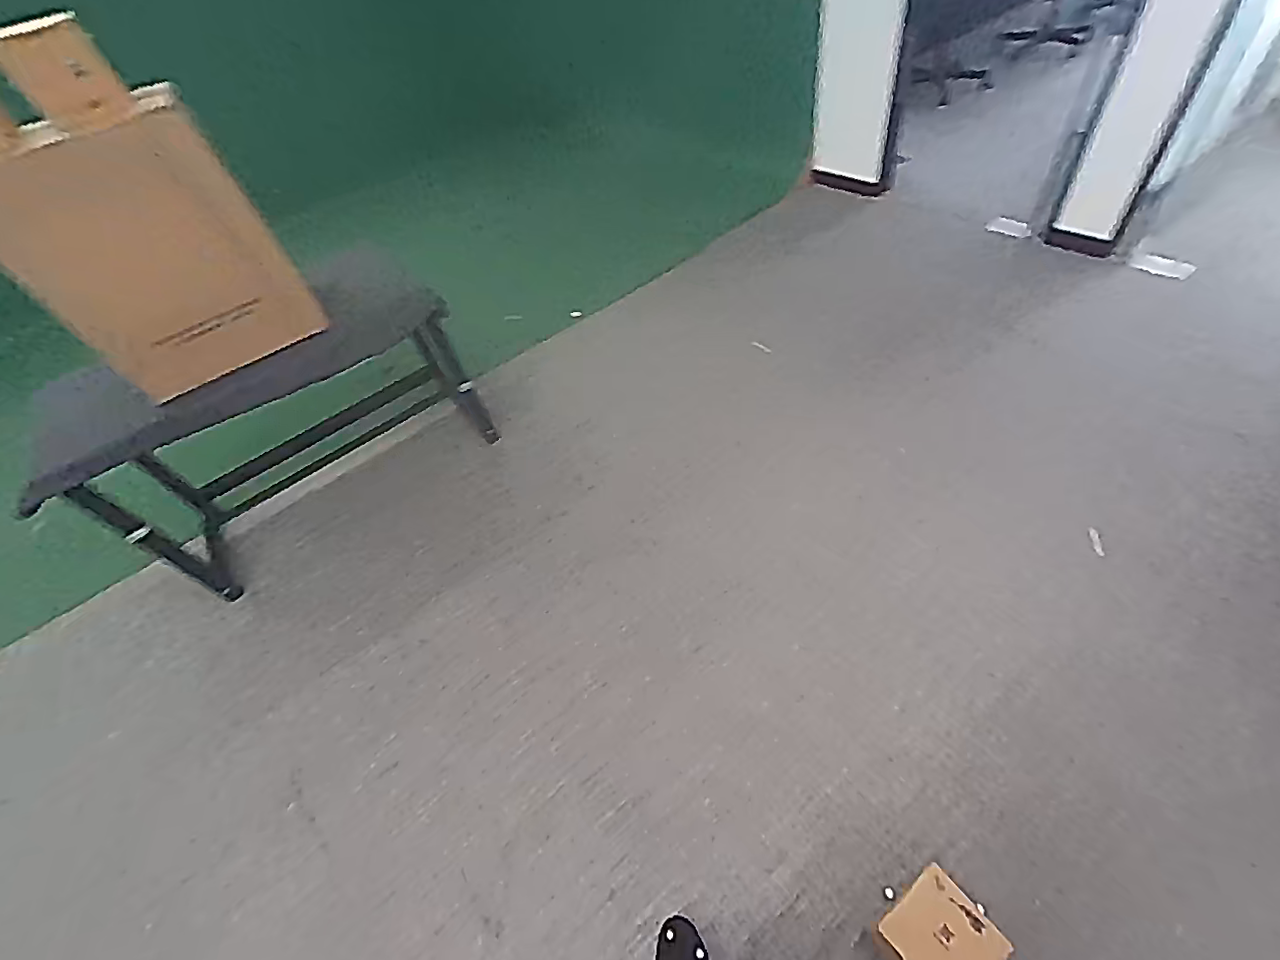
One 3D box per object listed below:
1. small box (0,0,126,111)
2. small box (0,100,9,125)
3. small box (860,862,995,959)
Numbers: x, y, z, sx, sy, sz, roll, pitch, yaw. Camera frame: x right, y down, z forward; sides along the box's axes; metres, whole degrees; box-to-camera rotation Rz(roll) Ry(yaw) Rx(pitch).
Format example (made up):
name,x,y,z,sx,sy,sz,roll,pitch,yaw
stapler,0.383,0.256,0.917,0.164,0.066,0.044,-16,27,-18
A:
name,x,y,z,sx,sy,sz,roll,pitch,yaw
small box,-1.297,-0.947,1.199,0.168,0.176,0.179,-34,54,-20
small box,-1.489,-0.813,1.121,0.168,0.176,0.179,-31,54,-13
small box,0.572,0.930,1.101,0.179,0.176,0.168,-35,53,-19
